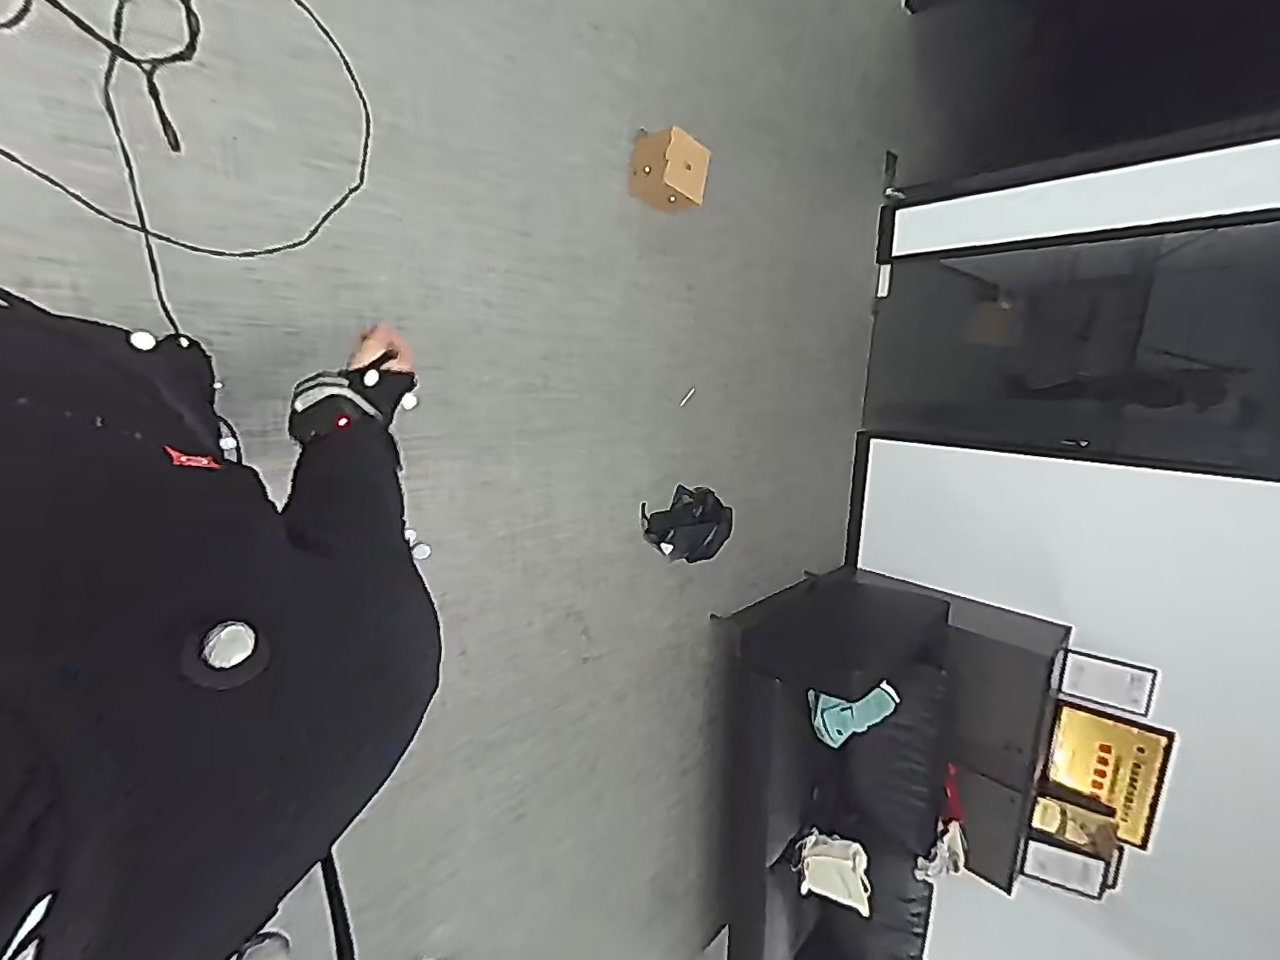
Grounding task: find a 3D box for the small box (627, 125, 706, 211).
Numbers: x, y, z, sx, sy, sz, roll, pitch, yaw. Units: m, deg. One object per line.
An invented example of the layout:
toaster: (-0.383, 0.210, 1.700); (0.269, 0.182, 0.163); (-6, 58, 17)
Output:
small box: (0.080, -0.972, 1.706); (0.179, 0.176, 0.168); (3, 99, -46)
